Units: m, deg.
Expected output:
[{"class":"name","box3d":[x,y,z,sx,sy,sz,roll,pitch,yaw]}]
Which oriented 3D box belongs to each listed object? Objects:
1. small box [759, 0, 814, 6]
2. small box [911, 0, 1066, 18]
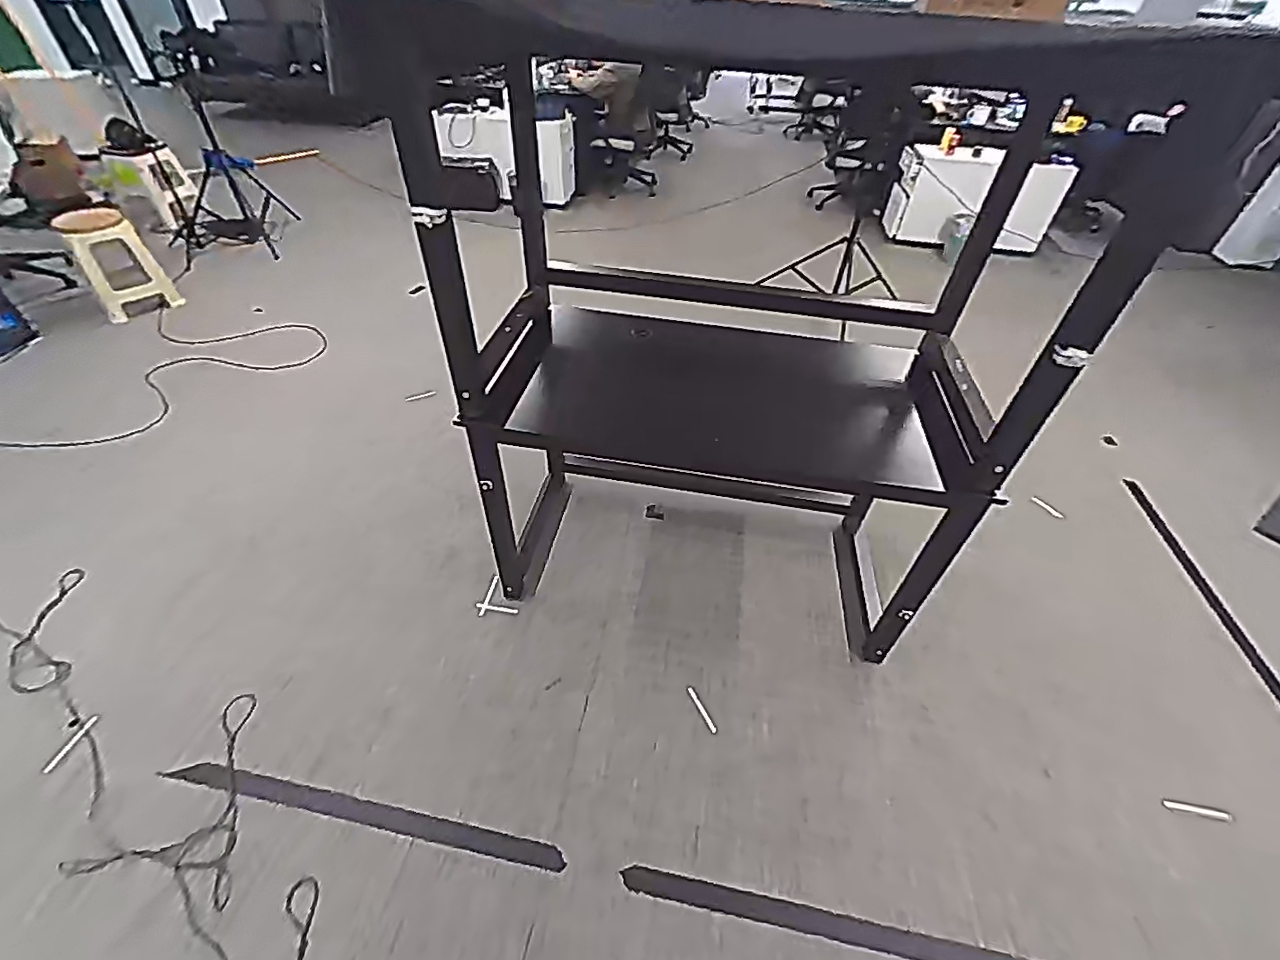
[{"class":"small box","box3d":[0.170,-0.742,0.710,0.168,0.176,0.179,9,42,7]},{"class":"small box","box3d":[0.465,-0.700,0.686,0.168,0.176,0.179,11,42,9]}]
